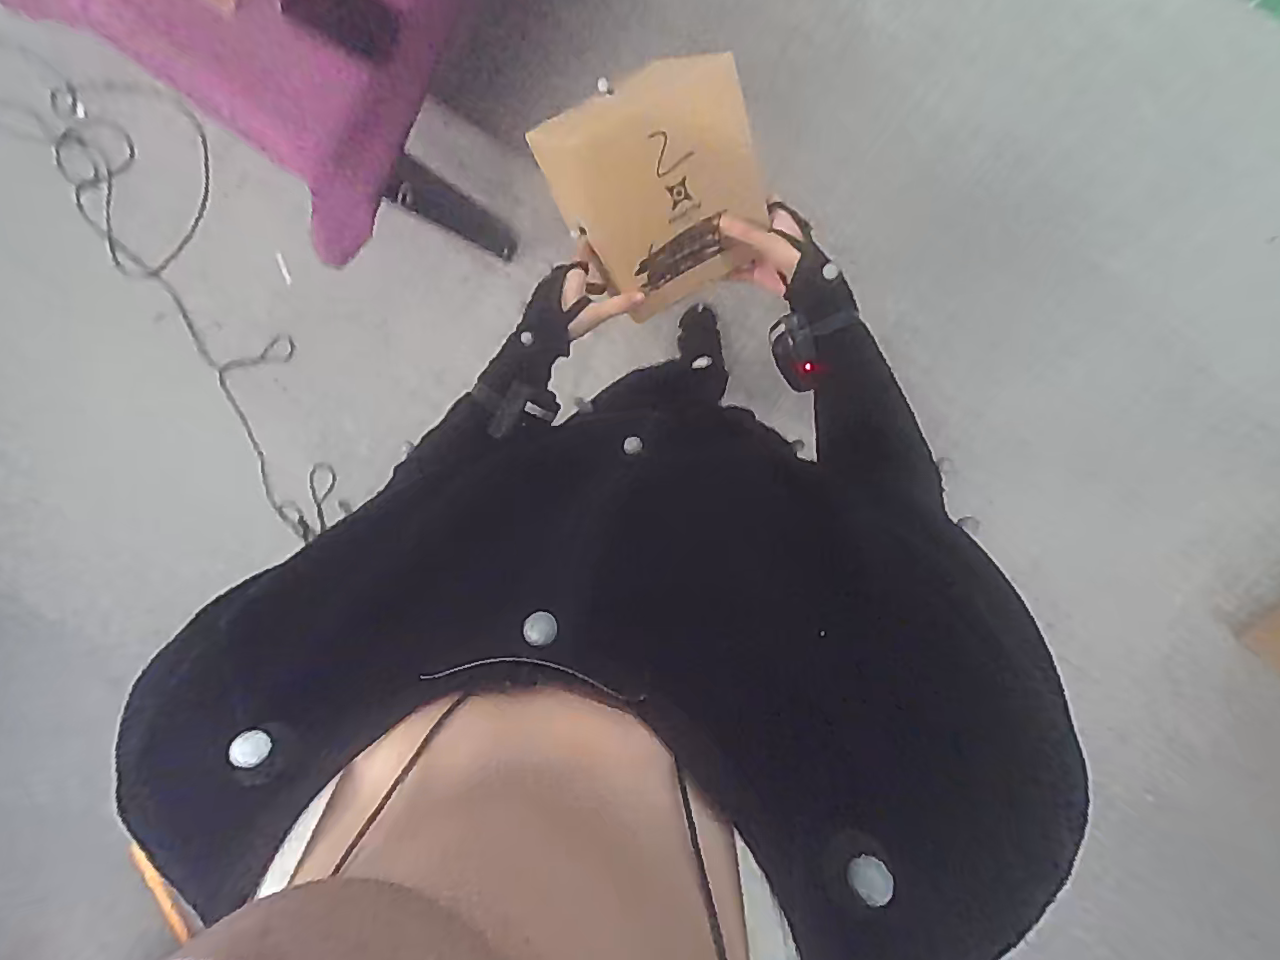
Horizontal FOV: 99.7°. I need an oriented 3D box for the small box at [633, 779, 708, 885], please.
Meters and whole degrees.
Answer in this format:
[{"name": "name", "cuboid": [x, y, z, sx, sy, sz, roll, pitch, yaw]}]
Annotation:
[{"name": "small box", "cuboid": [0.084, 1.026, 1.595, 0.179, 0.176, 0.168, 34, 104, -1]}]
